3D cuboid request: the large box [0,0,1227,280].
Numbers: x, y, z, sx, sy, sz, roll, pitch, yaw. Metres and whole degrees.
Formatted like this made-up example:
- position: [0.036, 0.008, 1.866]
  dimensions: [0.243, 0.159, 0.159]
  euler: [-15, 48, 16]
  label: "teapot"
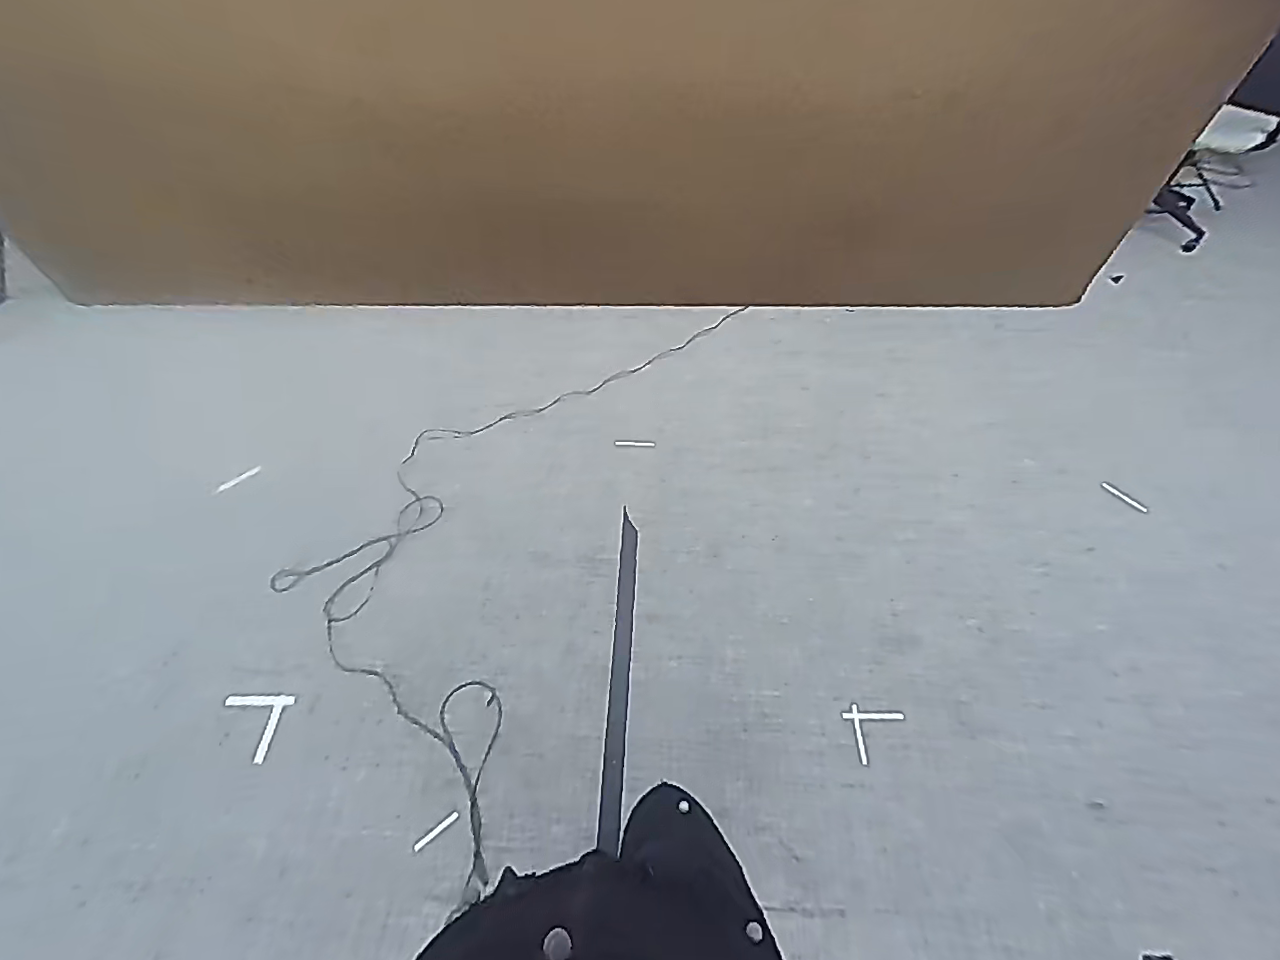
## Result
- position: [-0.021, -0.293, 0.204]
  dimensions: [0.408, 0.320, 0.320]
  euler: [0, 52, -2]
  label: "large box"
